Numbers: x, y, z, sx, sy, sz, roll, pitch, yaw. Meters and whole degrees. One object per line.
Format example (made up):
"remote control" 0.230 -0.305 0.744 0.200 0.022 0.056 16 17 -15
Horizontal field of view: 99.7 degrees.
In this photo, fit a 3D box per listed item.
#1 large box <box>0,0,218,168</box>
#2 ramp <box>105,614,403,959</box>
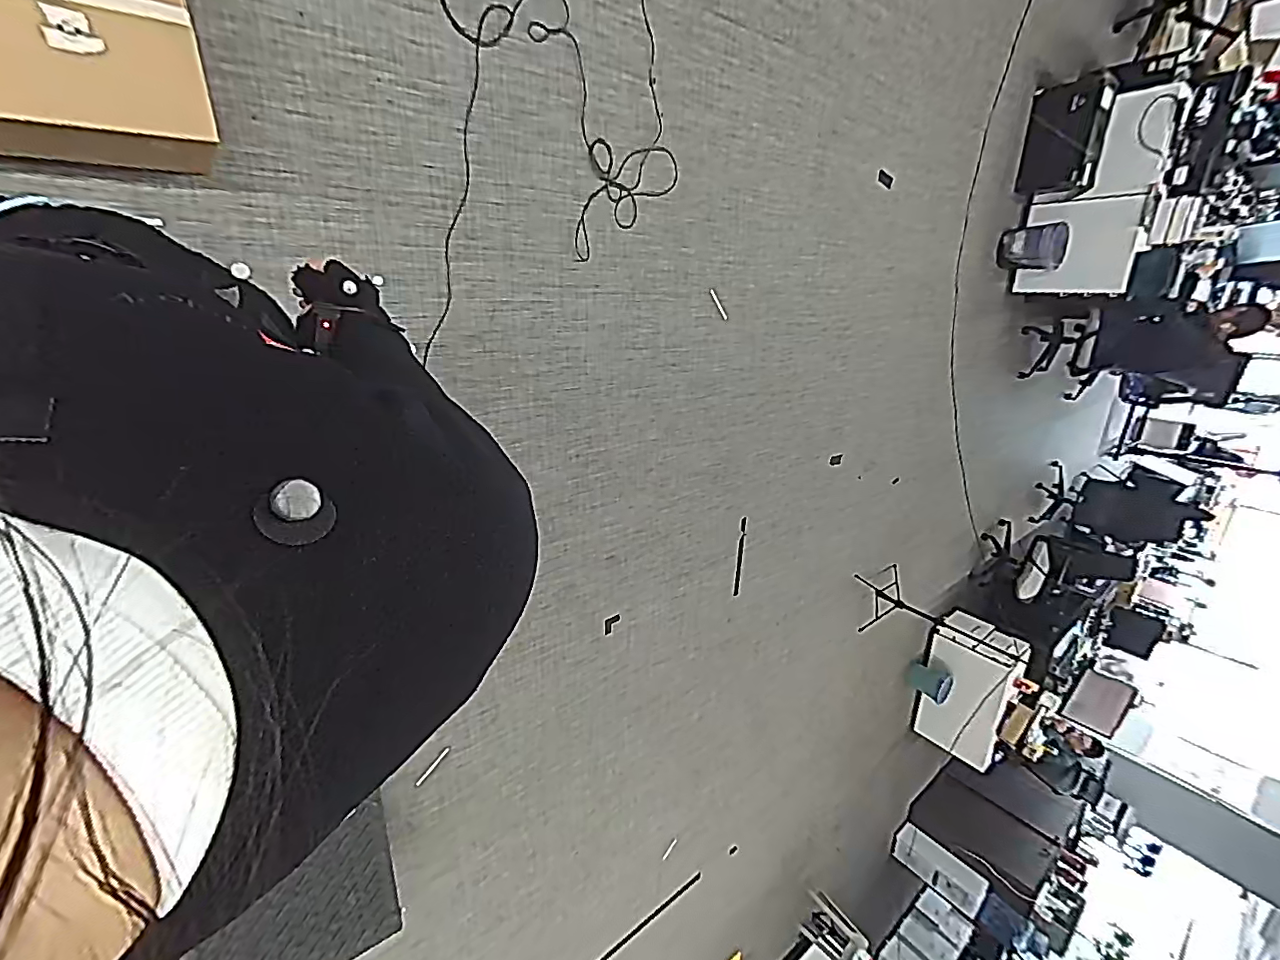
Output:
"large box" -0.907 -0.667 0.784 0.408 0.320 0.320 -16 116 -36
"ramp" -0.940 0.882 1.394 0.509 0.206 0.991 -13 113 -35
